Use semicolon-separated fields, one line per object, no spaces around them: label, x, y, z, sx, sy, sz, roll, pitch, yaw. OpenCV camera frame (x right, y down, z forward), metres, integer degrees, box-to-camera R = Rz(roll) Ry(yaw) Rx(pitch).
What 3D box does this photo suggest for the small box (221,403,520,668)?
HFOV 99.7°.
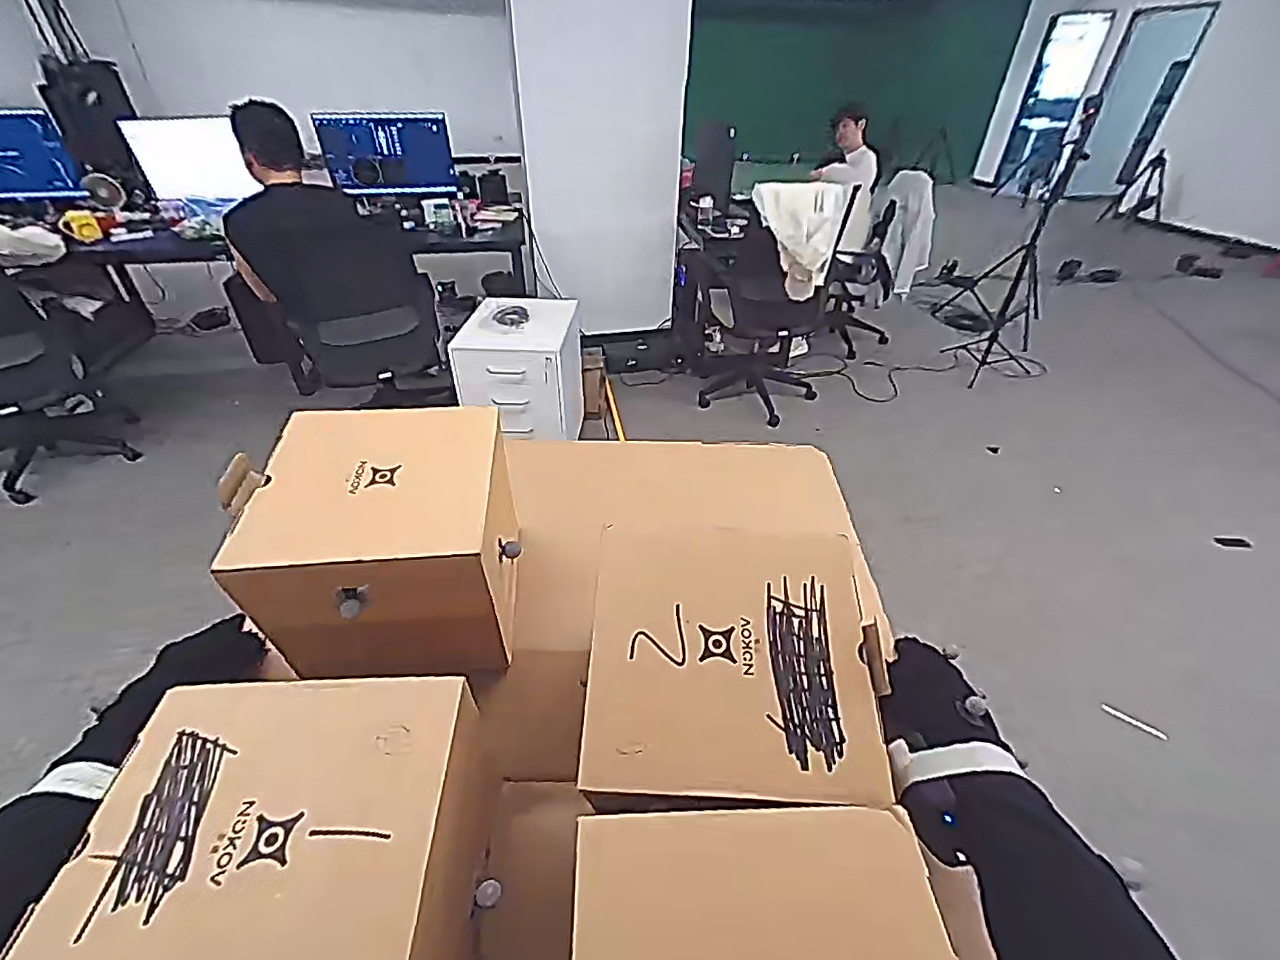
small box;-0.206;0.050;0.481;0.179;0.176;0.168;-3;45;-5
